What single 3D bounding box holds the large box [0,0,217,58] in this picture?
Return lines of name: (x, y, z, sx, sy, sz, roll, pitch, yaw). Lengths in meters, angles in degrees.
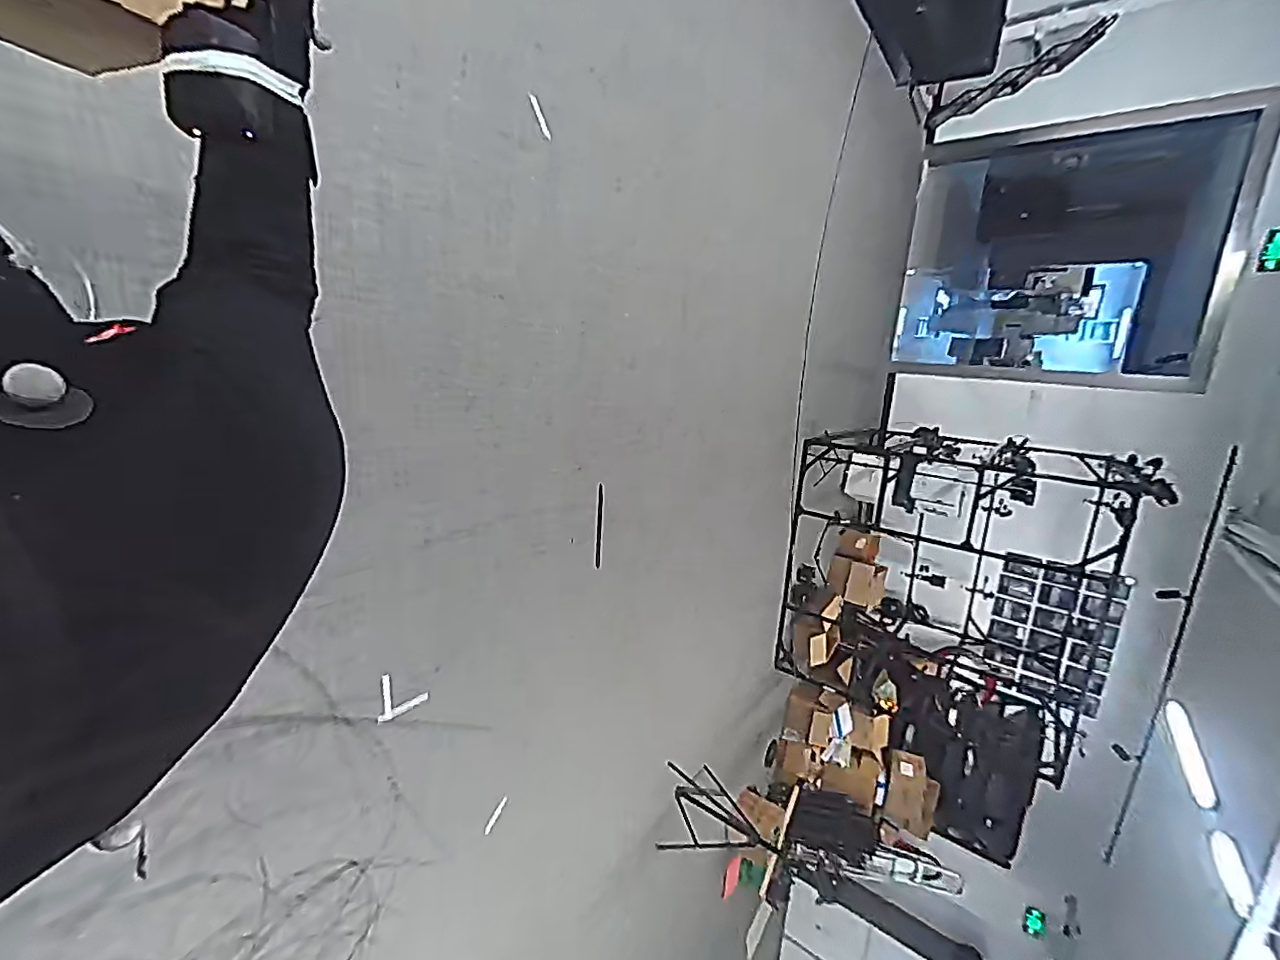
large box: (-0.496, -0.492, 0.259, 0.408, 0.320, 0.320, -5, 115, -57)
